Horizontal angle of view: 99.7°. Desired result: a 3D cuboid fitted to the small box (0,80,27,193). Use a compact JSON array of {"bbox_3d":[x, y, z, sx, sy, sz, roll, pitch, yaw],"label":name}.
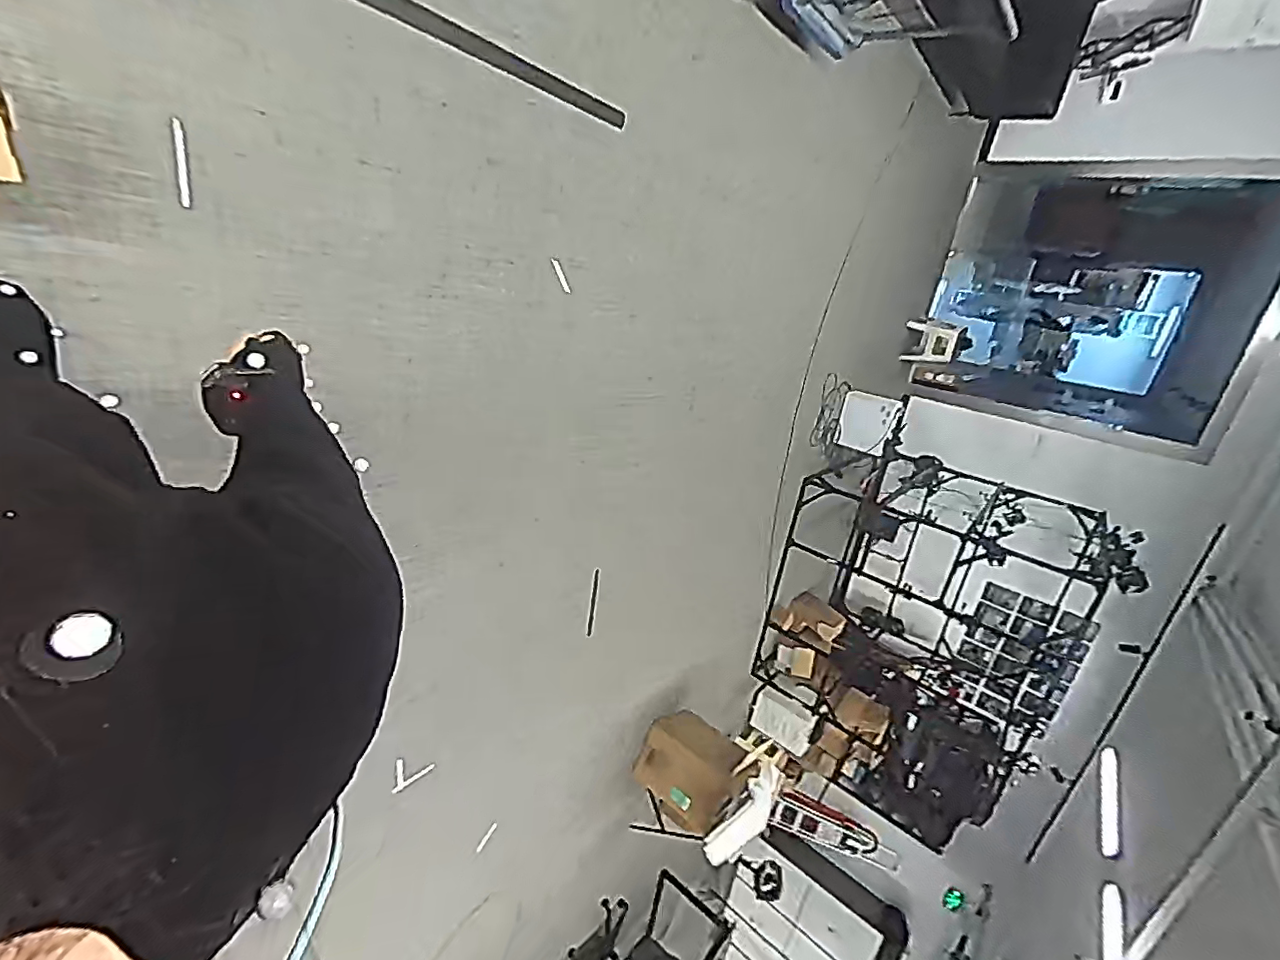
[{"bbox_3d":[-0.907,-0.458,0.655,0.179,0.176,0.168,-19,123,-49],"label":"small box"}]
